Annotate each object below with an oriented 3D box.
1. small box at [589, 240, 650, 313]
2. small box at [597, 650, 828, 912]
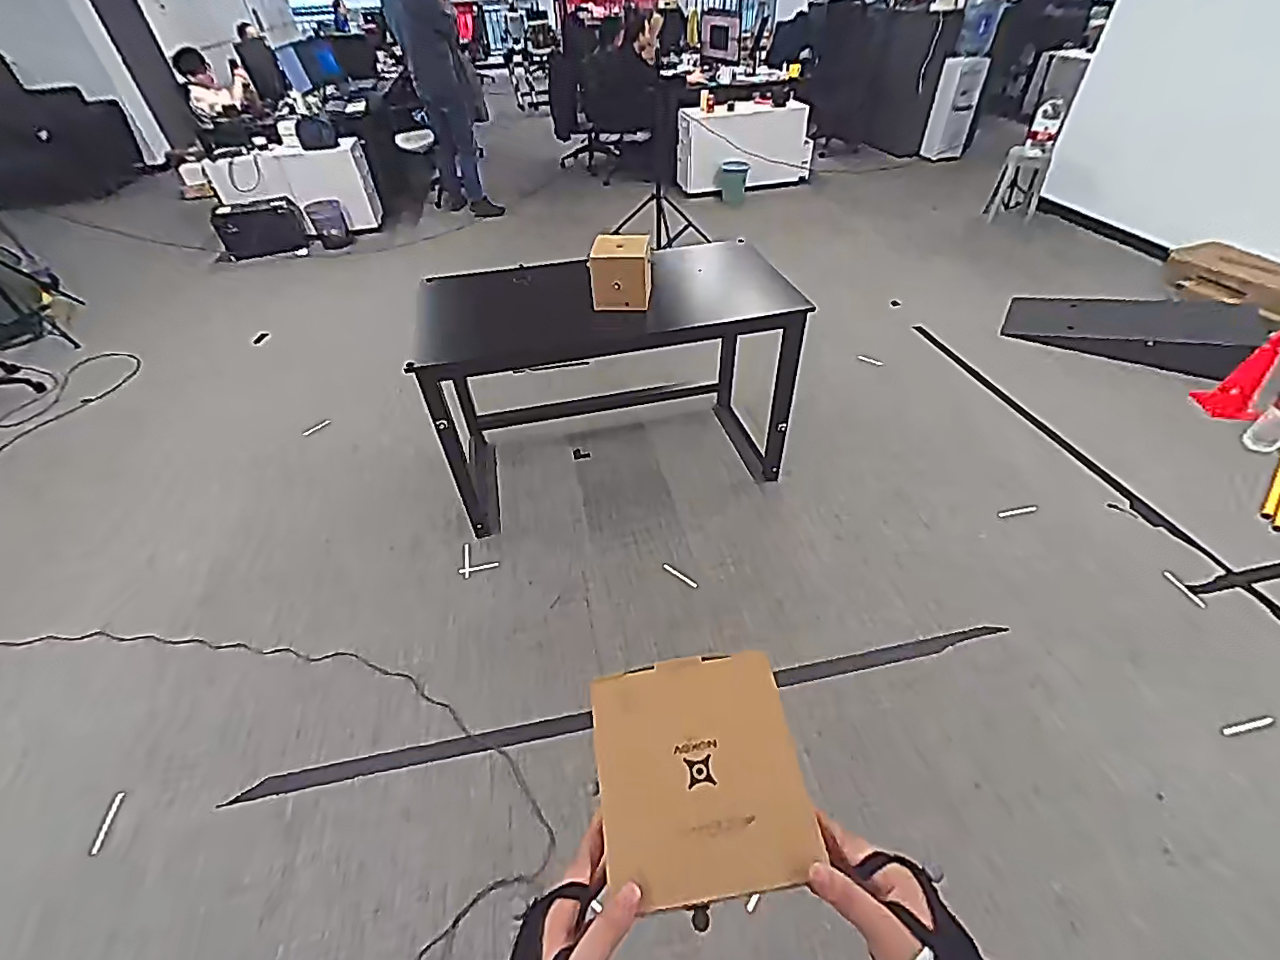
[{"bbox_3d":[-0.058,-0.634,1.689,0.168,0.176,0.179,2,43,5],"label":"small box"},{"bbox_3d":[0.052,0.286,0.512,0.168,0.176,0.179,-8,51,-3],"label":"small box"}]
